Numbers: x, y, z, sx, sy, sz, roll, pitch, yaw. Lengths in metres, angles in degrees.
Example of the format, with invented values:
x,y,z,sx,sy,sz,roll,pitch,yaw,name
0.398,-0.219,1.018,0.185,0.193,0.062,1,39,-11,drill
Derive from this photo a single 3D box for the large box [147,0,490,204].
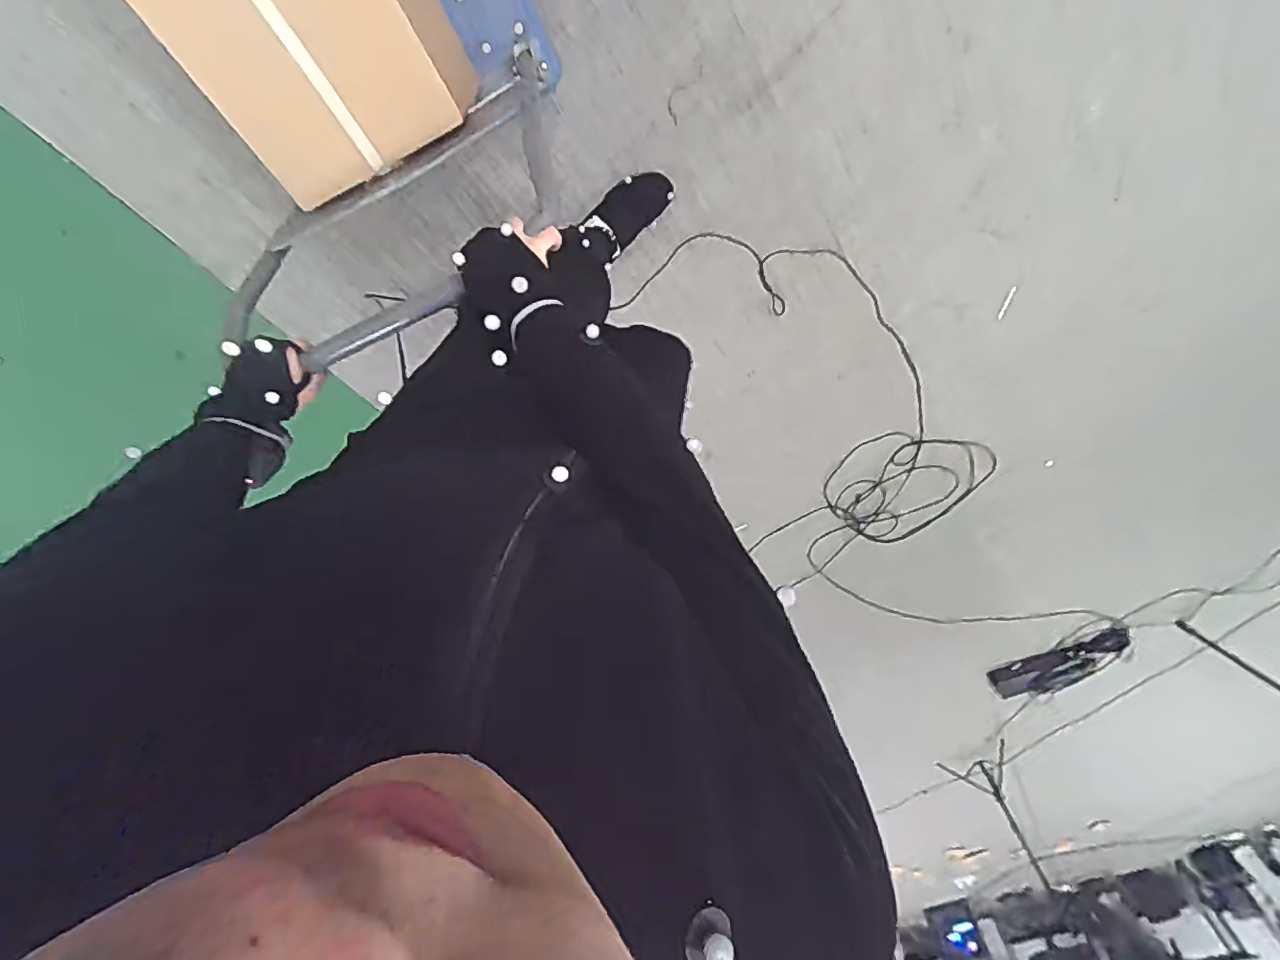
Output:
x,y,z,sx,sy,sz,roll,pitch,yaw,name
-0.490,-0.736,0.843,0.320,0.320,0.408,-22,133,12,large box
